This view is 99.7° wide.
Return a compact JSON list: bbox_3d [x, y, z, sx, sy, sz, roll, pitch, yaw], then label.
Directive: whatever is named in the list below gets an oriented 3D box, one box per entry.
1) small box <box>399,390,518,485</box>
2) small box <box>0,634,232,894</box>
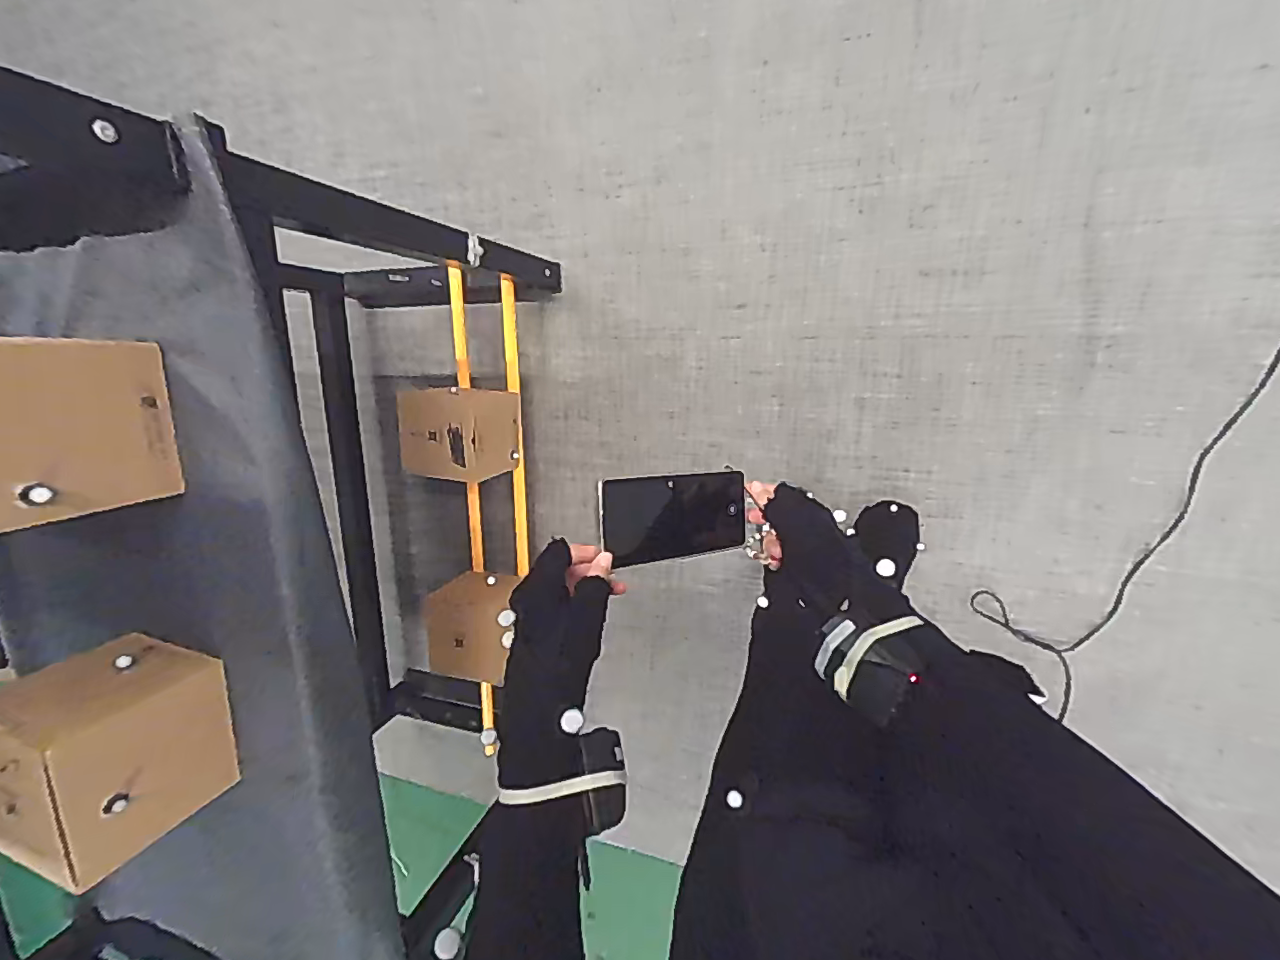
[{"bbox_3d":[-0.368,-0.096,1.123,0.179,0.176,0.168,7,104,17],"label":"small box"},{"bbox_3d":[-0.611,0.307,0.621,0.168,0.176,0.179,7,104,17],"label":"small box"}]
